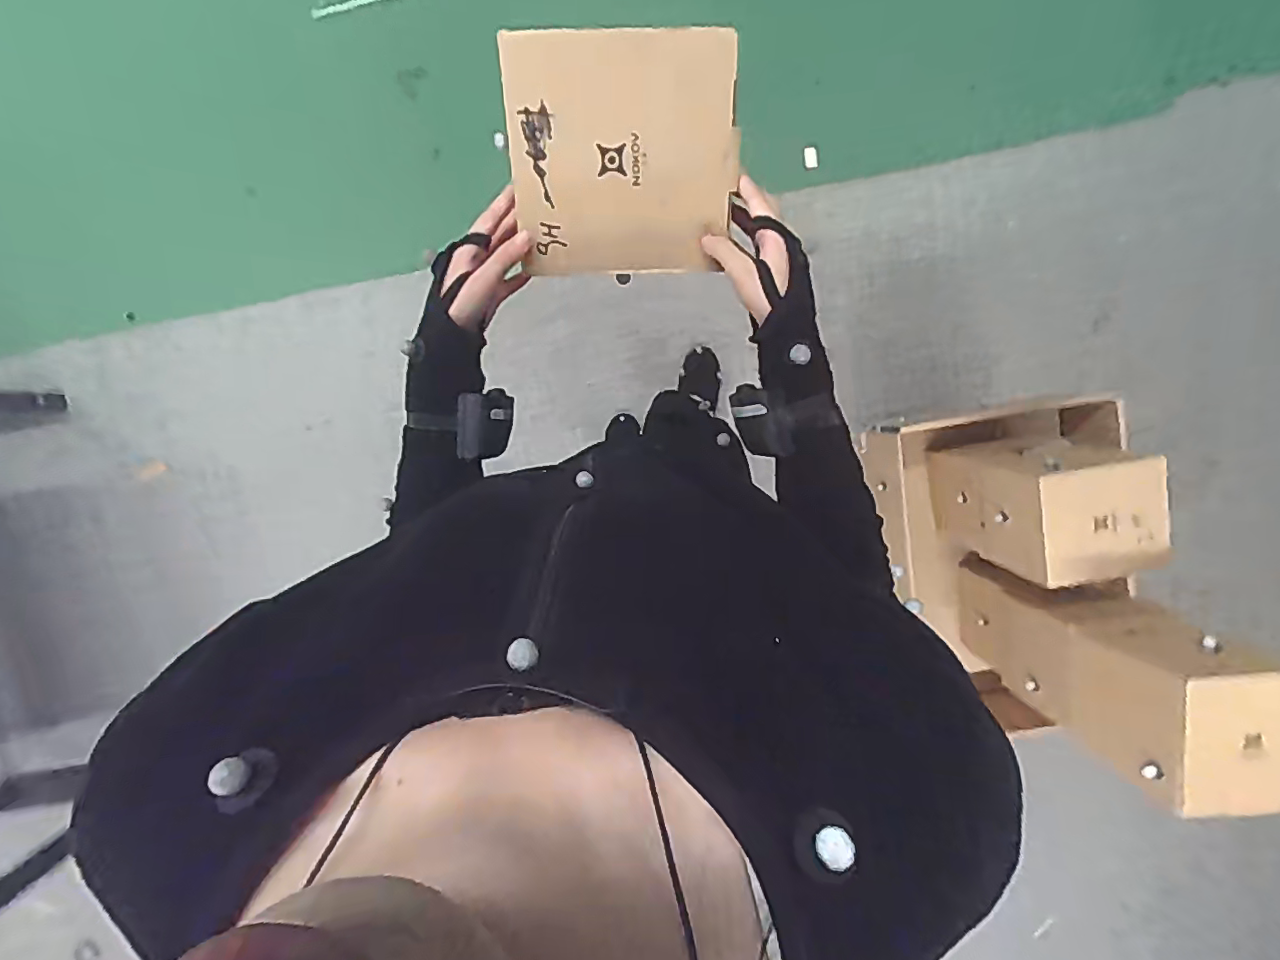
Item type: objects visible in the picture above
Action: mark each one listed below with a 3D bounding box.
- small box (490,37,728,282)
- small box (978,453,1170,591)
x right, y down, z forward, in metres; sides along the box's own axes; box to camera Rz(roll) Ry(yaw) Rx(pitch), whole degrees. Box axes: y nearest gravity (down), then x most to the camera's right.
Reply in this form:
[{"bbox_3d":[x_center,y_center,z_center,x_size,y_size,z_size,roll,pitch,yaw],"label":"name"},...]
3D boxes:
[{"bbox_3d":[-0.025,-0.275,0.493,0.179,0.176,0.168,-3,113,-2],"label":"small box"},{"bbox_3d":[0.653,0.056,0.837,0.179,0.176,0.168,-9,99,3],"label":"small box"}]
